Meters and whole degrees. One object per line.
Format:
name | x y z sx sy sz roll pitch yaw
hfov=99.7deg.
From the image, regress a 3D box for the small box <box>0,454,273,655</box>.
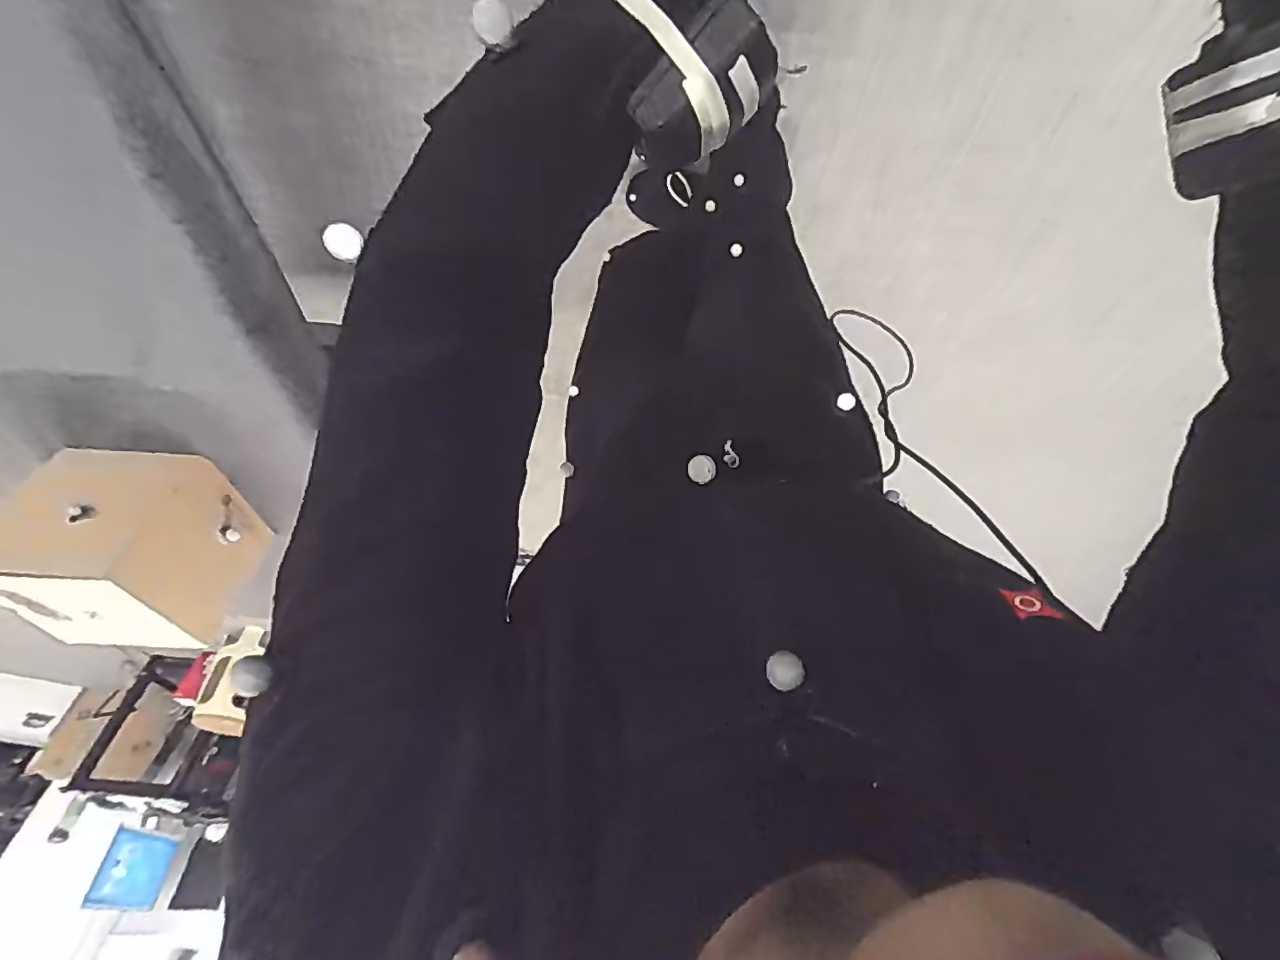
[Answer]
small box | -0.585 0.085 0.629 0.179 0.176 0.168 3 139 2
